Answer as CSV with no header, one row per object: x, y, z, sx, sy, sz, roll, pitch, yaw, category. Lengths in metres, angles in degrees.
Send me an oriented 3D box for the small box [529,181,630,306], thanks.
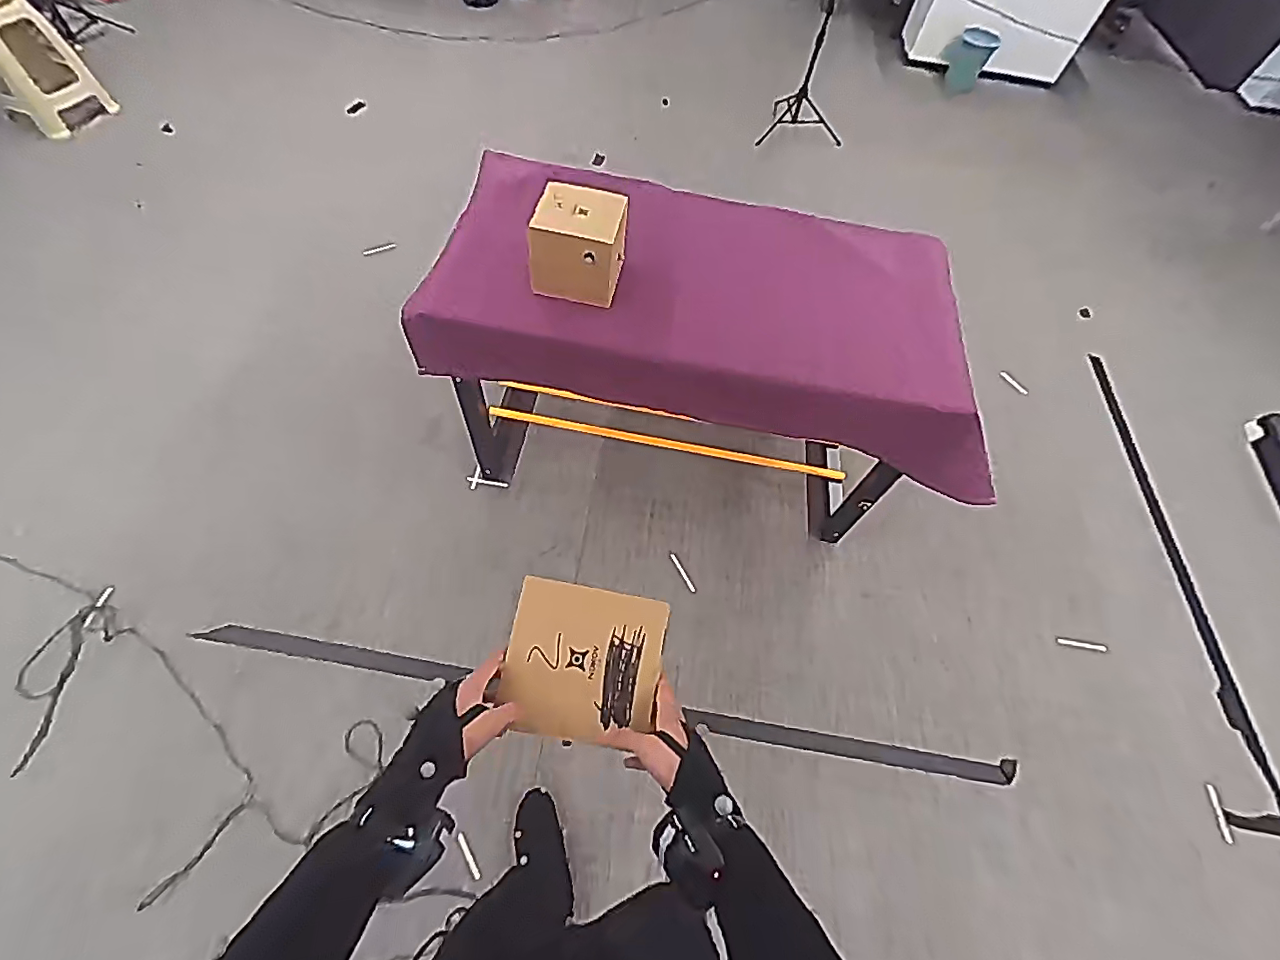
-0.128,-0.504,1.170,0.179,0.176,0.168,12,59,1,small box
